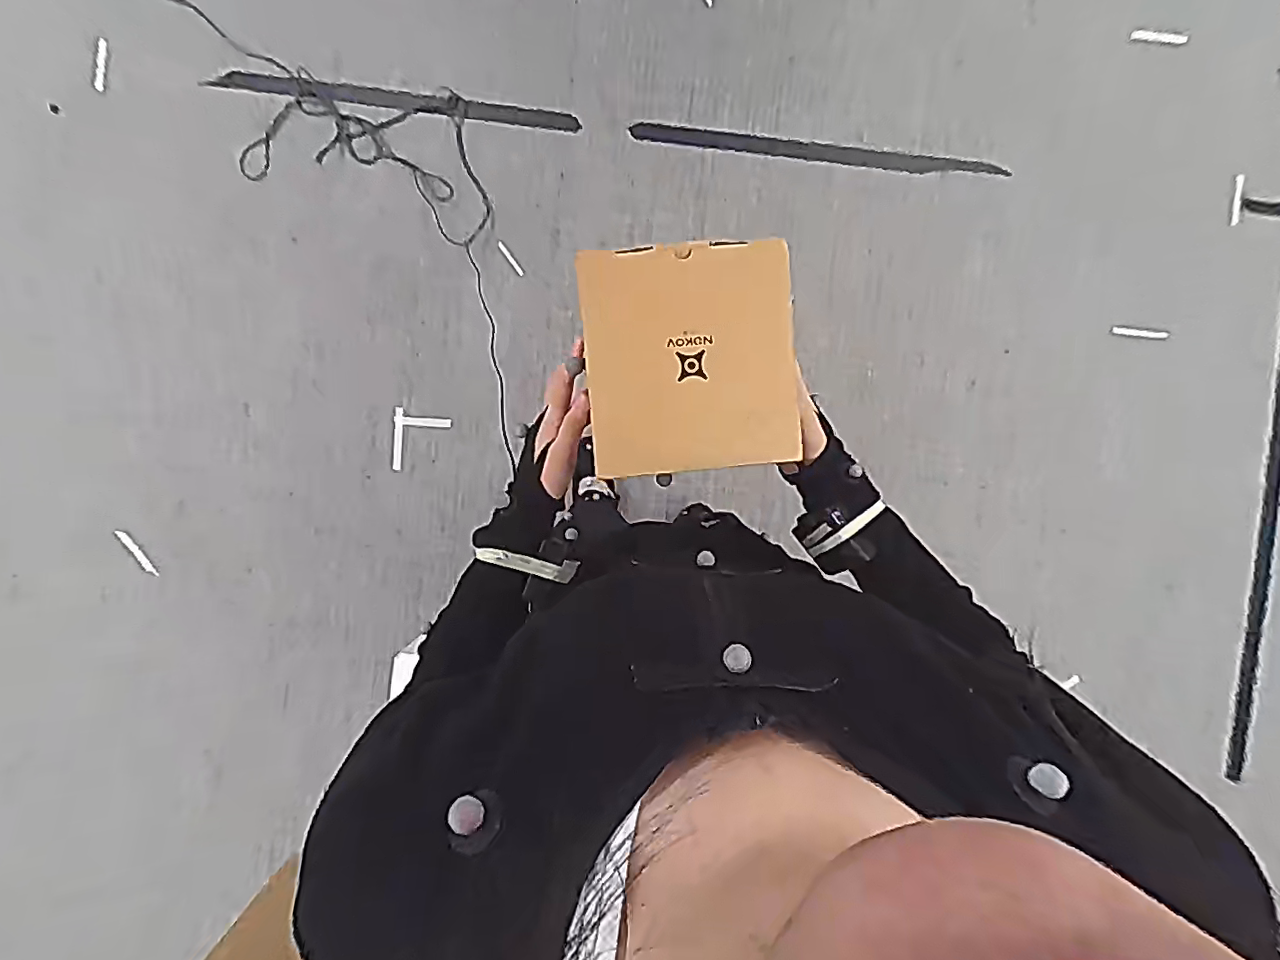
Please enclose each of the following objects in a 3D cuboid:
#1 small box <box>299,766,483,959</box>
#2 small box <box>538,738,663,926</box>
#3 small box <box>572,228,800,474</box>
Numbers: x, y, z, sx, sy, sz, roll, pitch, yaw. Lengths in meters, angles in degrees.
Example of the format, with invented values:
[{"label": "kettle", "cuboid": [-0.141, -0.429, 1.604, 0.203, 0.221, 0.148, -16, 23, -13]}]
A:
[{"label": "small box", "cuboid": [-0.304, 0.495, 0.672, 0.168, 0.176, 0.179, 8, 91, -2]}, {"label": "small box", "cuboid": [-0.056, 0.532, 0.838, 0.168, 0.176, 0.179, 5, 92, -1]}, {"label": "small box", "cuboid": [0.034, -0.104, 0.495, 0.168, 0.176, 0.179, -6, 93, -3]}]
